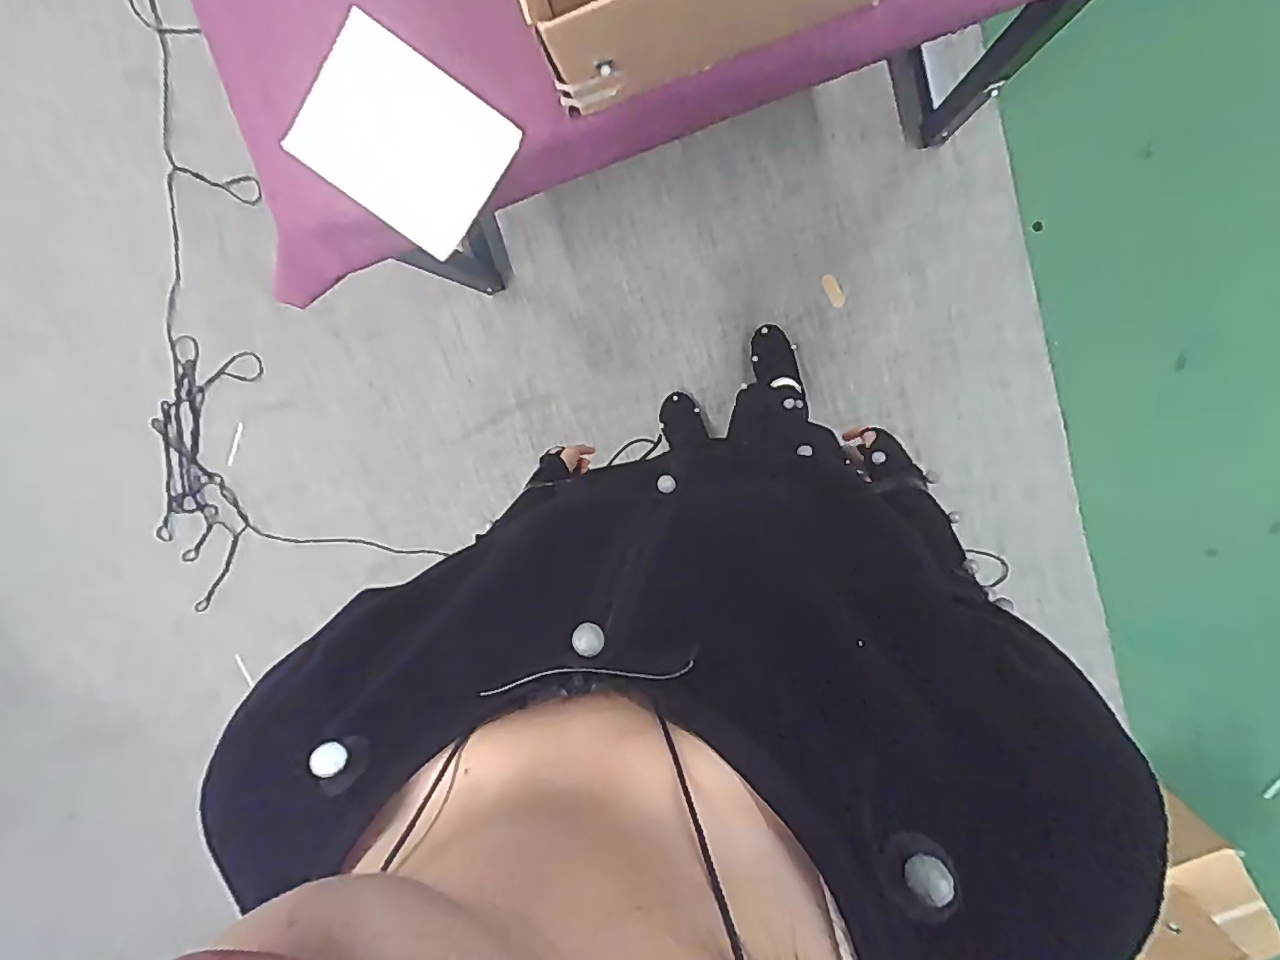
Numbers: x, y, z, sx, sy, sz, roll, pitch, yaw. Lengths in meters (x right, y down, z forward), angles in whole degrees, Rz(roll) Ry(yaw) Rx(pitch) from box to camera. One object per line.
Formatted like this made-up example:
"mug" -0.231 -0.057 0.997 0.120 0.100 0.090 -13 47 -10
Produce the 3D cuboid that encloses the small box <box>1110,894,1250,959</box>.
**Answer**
"small box" 1.180 1.042 1.169 0.168 0.176 0.179 -25 96 11
